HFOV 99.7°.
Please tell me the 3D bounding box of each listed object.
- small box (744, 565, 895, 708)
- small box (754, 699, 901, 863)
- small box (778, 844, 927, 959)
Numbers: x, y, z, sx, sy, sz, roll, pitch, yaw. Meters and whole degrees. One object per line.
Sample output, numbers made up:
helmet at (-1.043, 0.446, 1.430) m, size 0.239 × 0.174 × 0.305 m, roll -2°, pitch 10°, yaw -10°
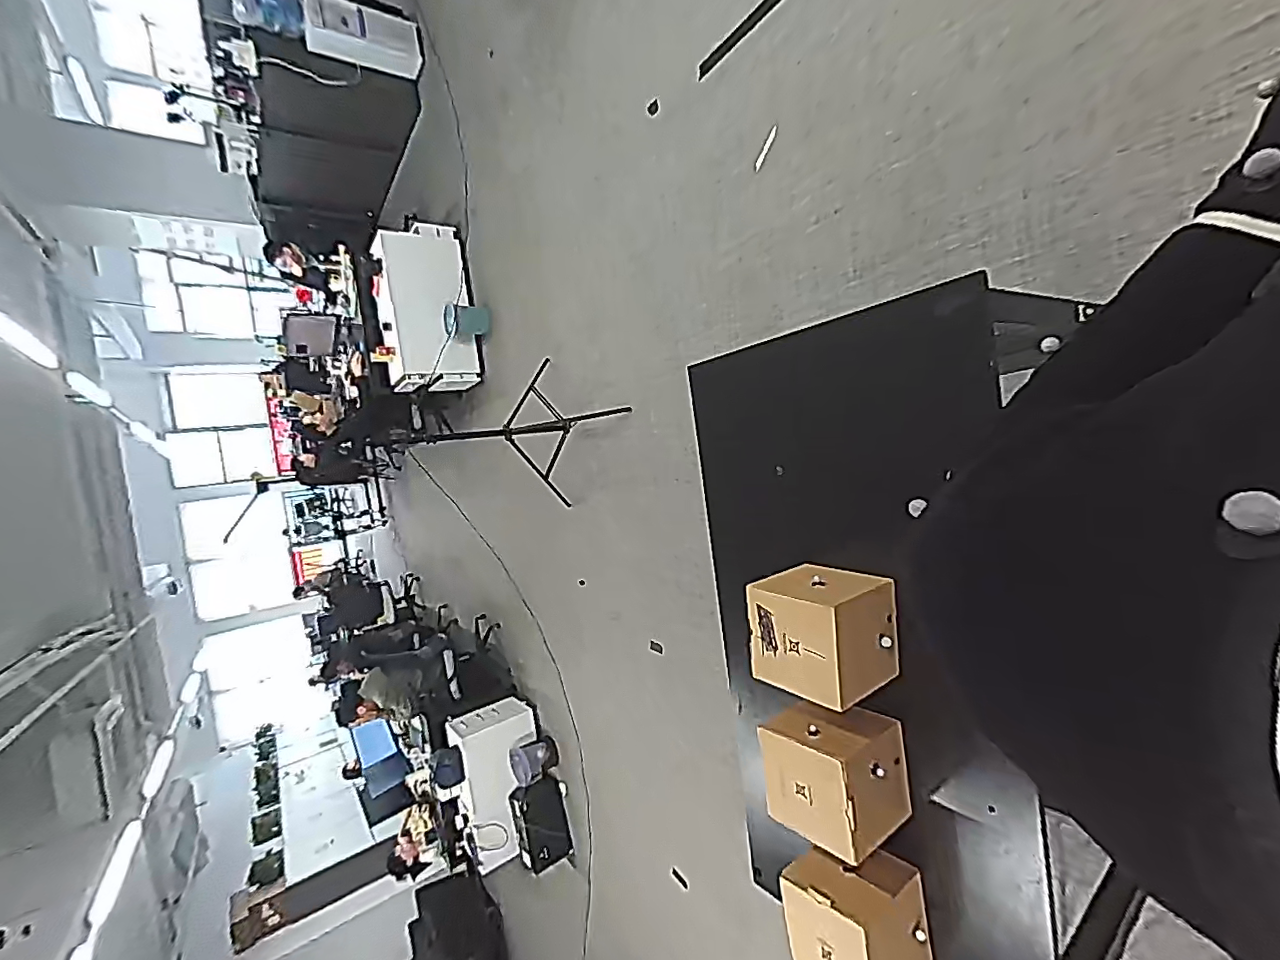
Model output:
small box at (0.298, 0.246, 0.904) m, size 0.179 × 0.176 × 0.168 m, roll 2°, pitch 100°, yaw 53°
small box at (0.326, 0.493, 0.927) m, size 0.179 × 0.176 × 0.168 m, roll -6°, pitch 93°, yaw 55°
small box at (0.366, 0.752, 0.930) m, size 0.168 × 0.176 × 0.179 m, roll -8°, pitch 90°, yaw 55°
